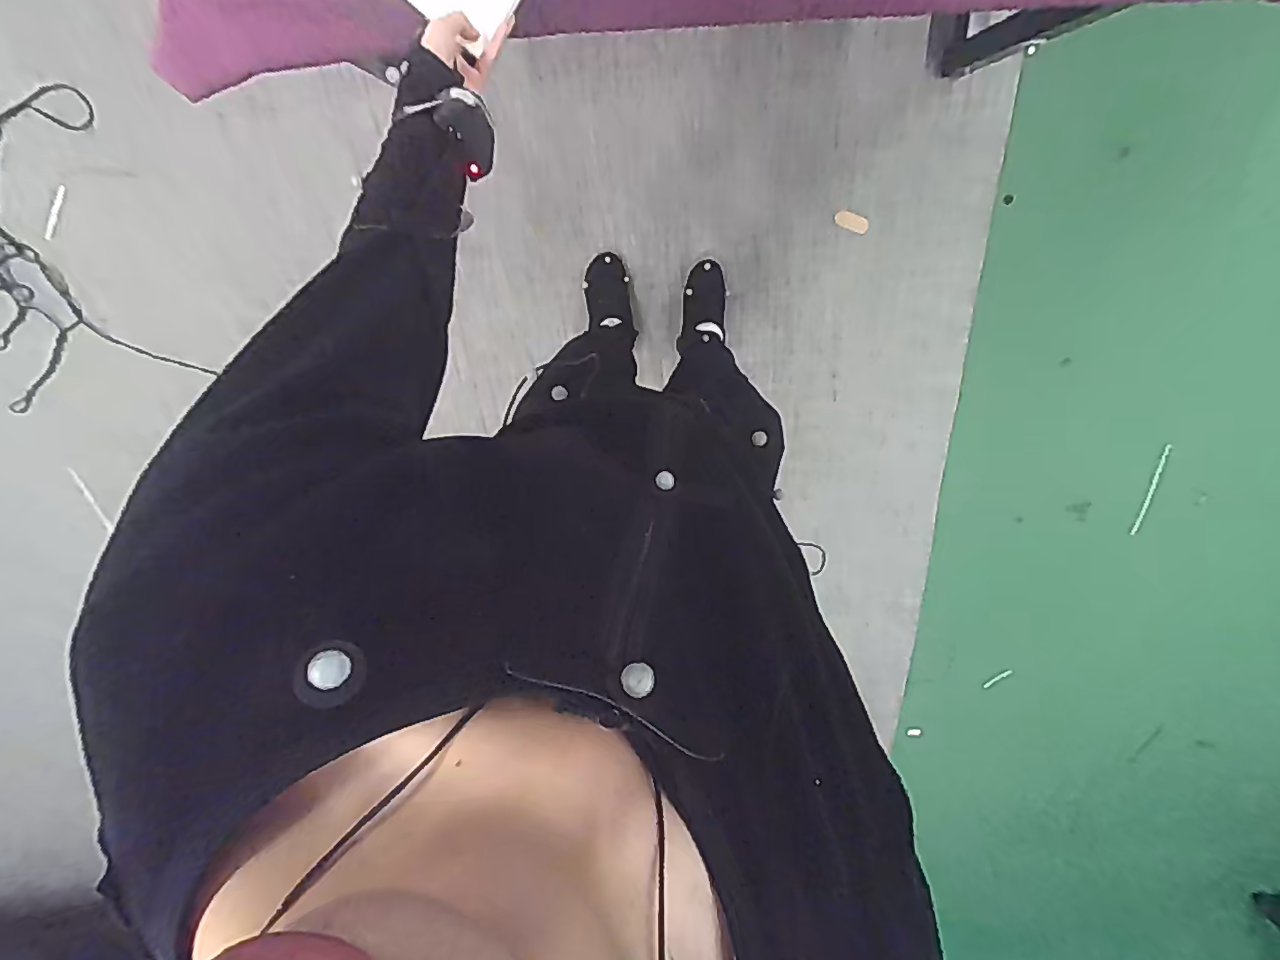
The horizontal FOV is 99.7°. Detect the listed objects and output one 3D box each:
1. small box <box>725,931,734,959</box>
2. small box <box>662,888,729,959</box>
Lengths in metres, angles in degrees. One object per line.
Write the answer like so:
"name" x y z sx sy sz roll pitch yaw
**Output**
"small box" 0.206 1.495 1.626 0.168 0.176 0.179 -11 113 3
"small box" 0.156 1.286 1.525 0.168 0.176 0.179 -7 116 1
